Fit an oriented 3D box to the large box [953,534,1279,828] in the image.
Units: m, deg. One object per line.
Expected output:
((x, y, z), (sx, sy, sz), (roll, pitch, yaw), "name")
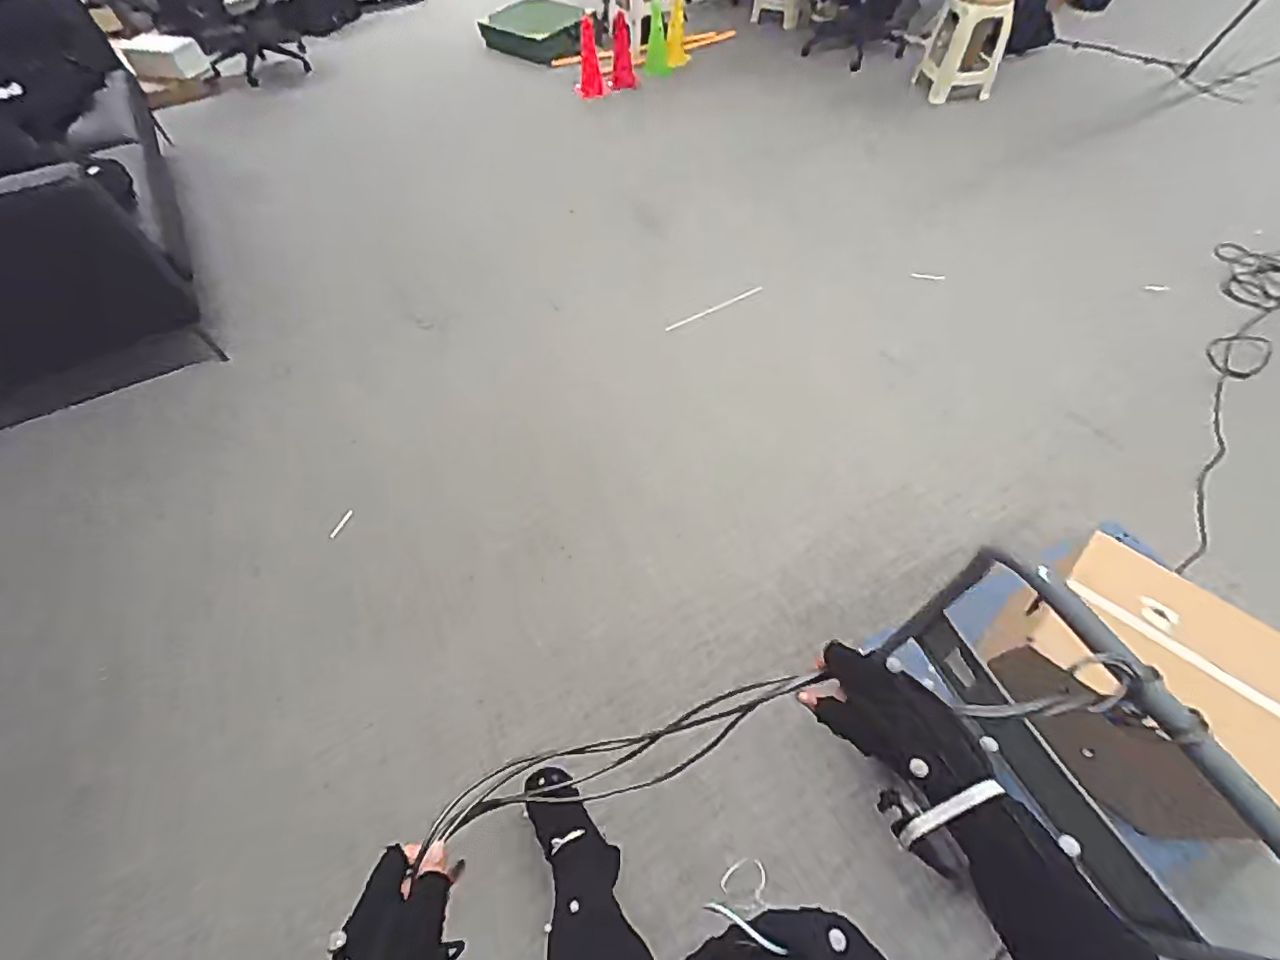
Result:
((0.927, 0.387, 1.047), (0.408, 0.320, 0.320), (38, 65, 25), "large box")
